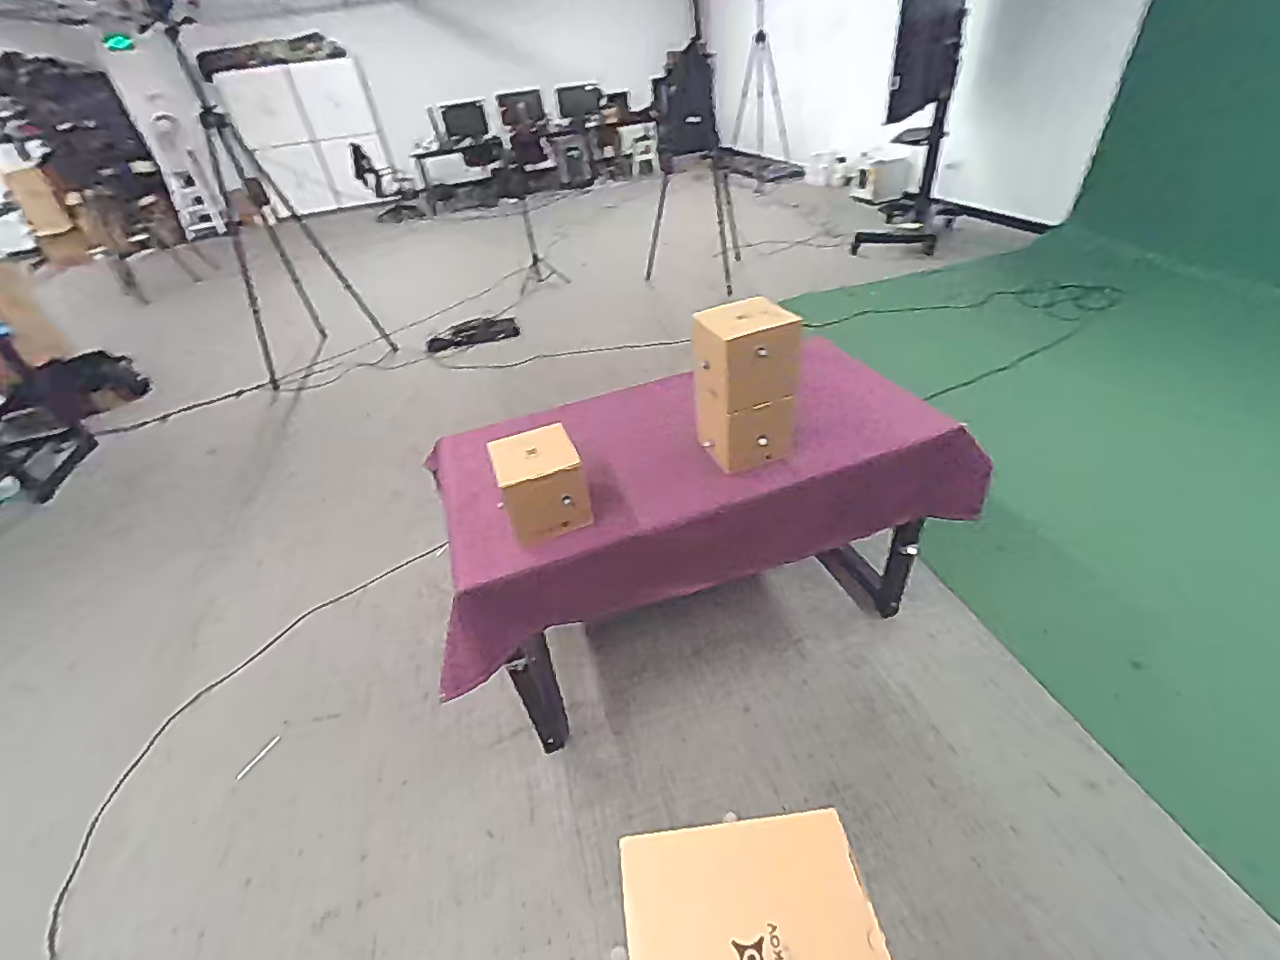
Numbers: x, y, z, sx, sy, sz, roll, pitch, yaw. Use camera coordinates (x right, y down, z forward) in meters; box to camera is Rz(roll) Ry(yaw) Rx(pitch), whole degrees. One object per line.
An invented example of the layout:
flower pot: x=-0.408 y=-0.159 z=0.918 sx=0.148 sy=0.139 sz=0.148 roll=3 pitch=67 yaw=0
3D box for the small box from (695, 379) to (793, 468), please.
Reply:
small box: x=0.242 y=-0.145 z=1.274 sx=0.168 sy=0.176 sz=0.179 roll=-16 pitch=40 yaw=-11

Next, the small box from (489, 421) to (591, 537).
small box: x=-0.212 y=0.003 z=1.162 sx=0.168 sy=0.176 sz=0.179 roll=-17 pitch=39 yaw=-13

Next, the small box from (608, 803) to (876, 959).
small box: x=0.072 y=0.381 z=0.421 sx=0.179 sy=0.176 sz=0.168 roll=-5 pitch=42 yaw=-6

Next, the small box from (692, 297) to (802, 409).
small box: x=0.228 y=-0.273 z=1.170 sx=0.179 sy=0.176 sz=0.168 roll=-17 pitch=40 yaw=-12
